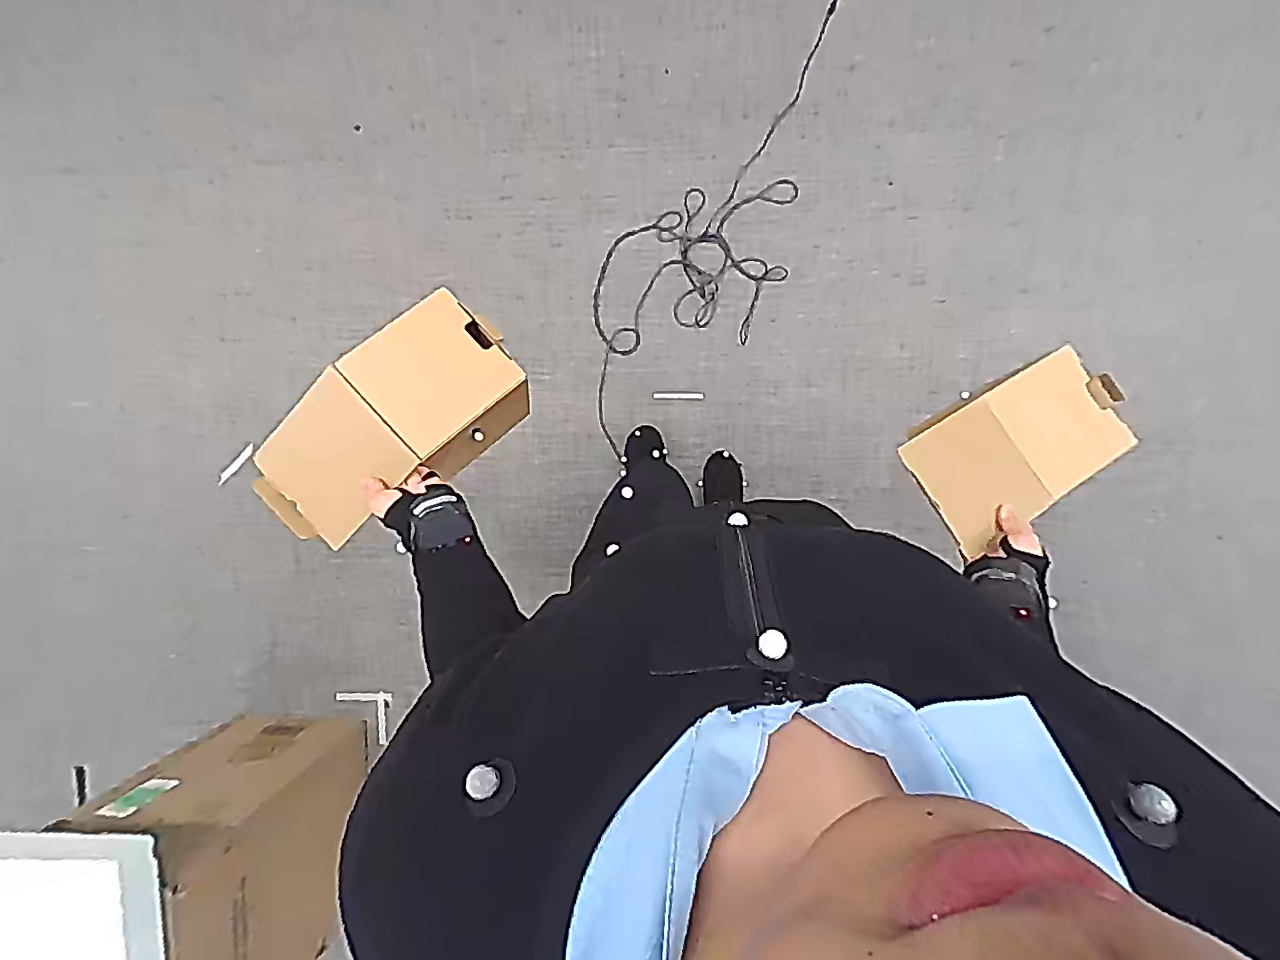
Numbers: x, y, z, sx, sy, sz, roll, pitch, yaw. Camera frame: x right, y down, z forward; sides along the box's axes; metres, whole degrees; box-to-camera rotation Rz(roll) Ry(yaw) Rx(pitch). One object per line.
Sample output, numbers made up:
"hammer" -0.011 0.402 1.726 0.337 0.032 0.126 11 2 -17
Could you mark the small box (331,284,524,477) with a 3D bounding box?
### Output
"small box" -0.276 -0.125 0.753 0.179 0.176 0.168 -42 90 -15
